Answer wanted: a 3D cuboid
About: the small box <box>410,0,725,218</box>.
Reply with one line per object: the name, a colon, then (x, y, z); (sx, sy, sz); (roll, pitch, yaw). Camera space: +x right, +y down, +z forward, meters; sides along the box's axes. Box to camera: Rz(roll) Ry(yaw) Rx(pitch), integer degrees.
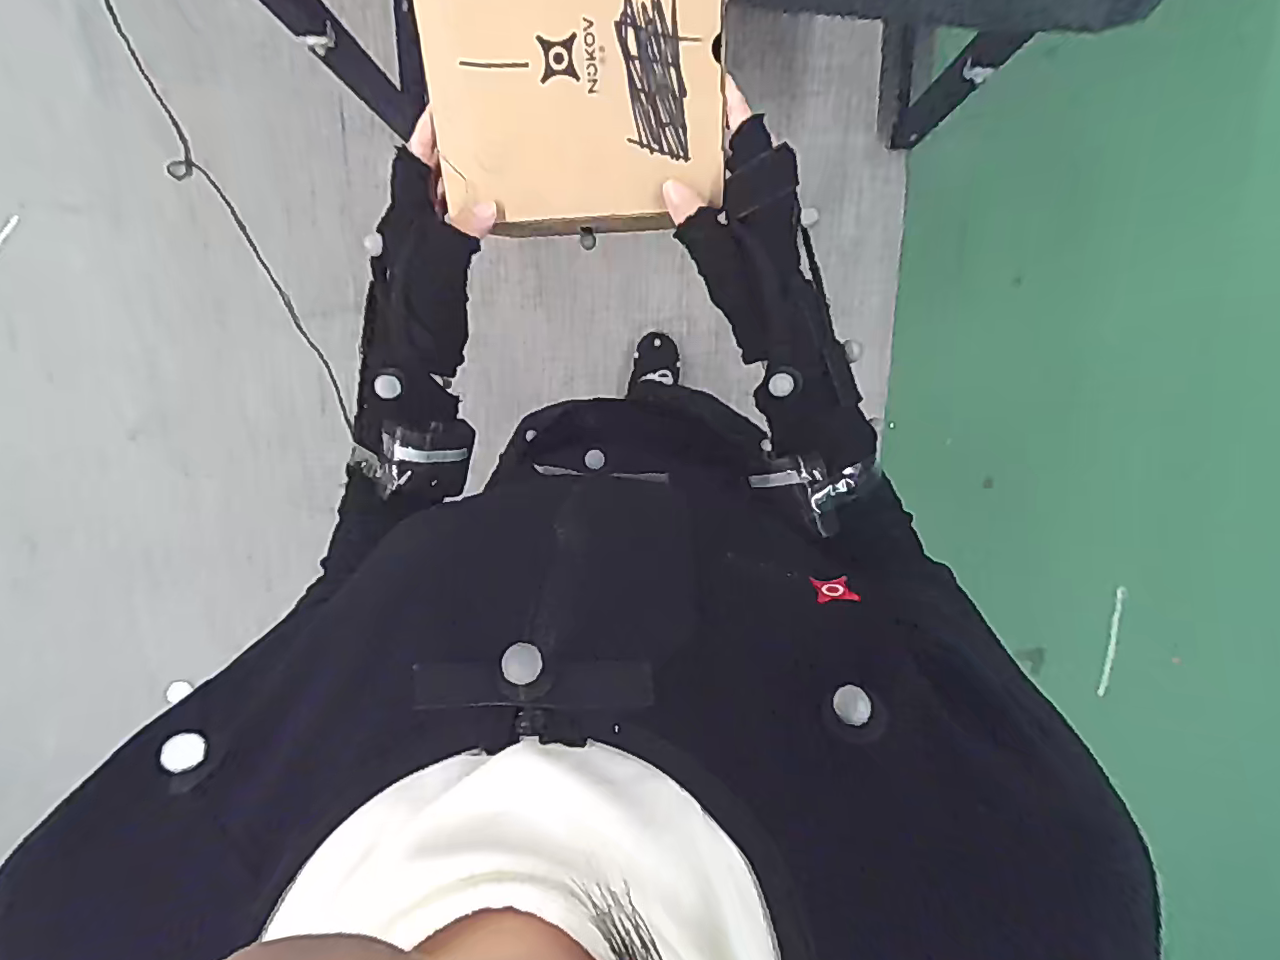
small box: (-0.037, -0.281, 0.377); (0.179, 0.176, 0.168); (-2, 113, 4)
